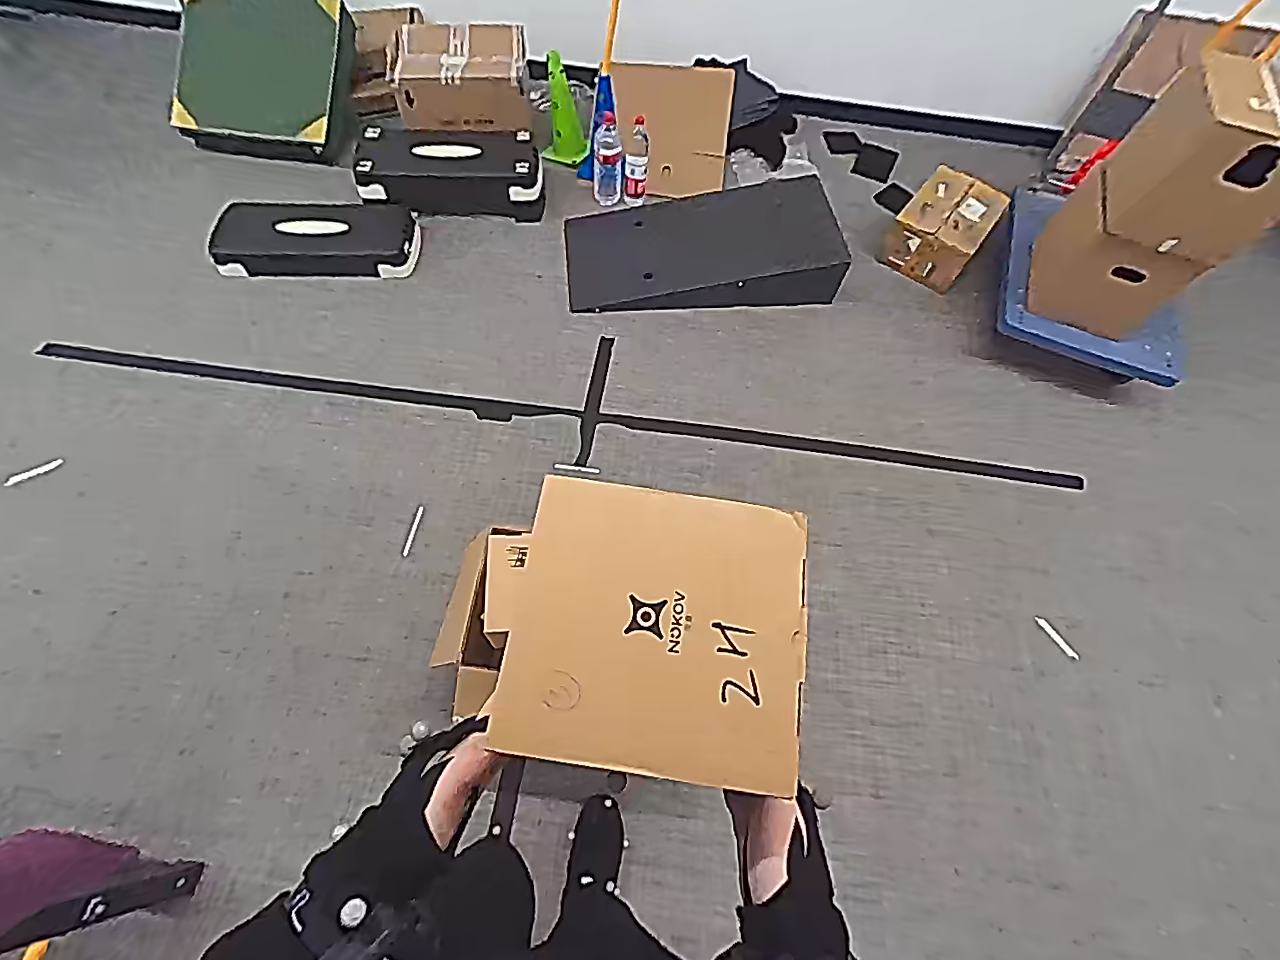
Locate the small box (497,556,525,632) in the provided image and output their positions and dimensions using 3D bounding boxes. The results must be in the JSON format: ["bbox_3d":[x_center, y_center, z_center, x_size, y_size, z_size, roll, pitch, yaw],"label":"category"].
[{"bbox_3d":[-0.206,0.263,1.180,0.179,0.176,0.168,-9,66,-13],"label":"small box"}]

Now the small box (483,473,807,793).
[{"bbox_3d":[0.007,0.111,0.398,0.179,0.176,0.168,9,69,1],"label":"small box"}]
